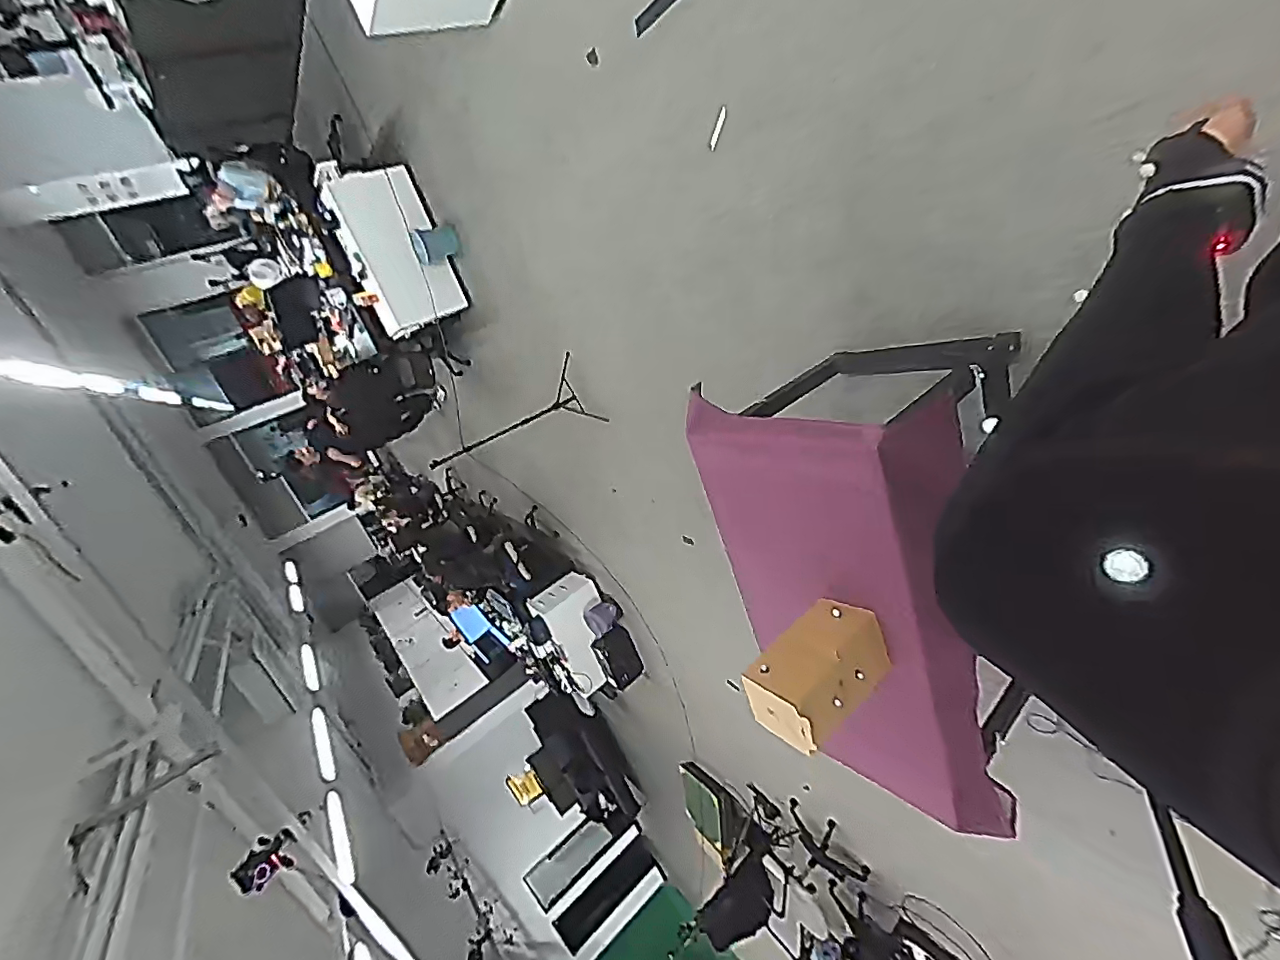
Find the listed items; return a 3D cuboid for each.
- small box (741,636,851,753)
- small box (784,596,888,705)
[{"bbox_3d":[0.379,0.507,1.309,0.179,0.176,0.168,13,130,54],"label":"small box"},{"bbox_3d":[0.505,0.428,1.382,0.168,0.176,0.179,4,121,57],"label":"small box"}]
